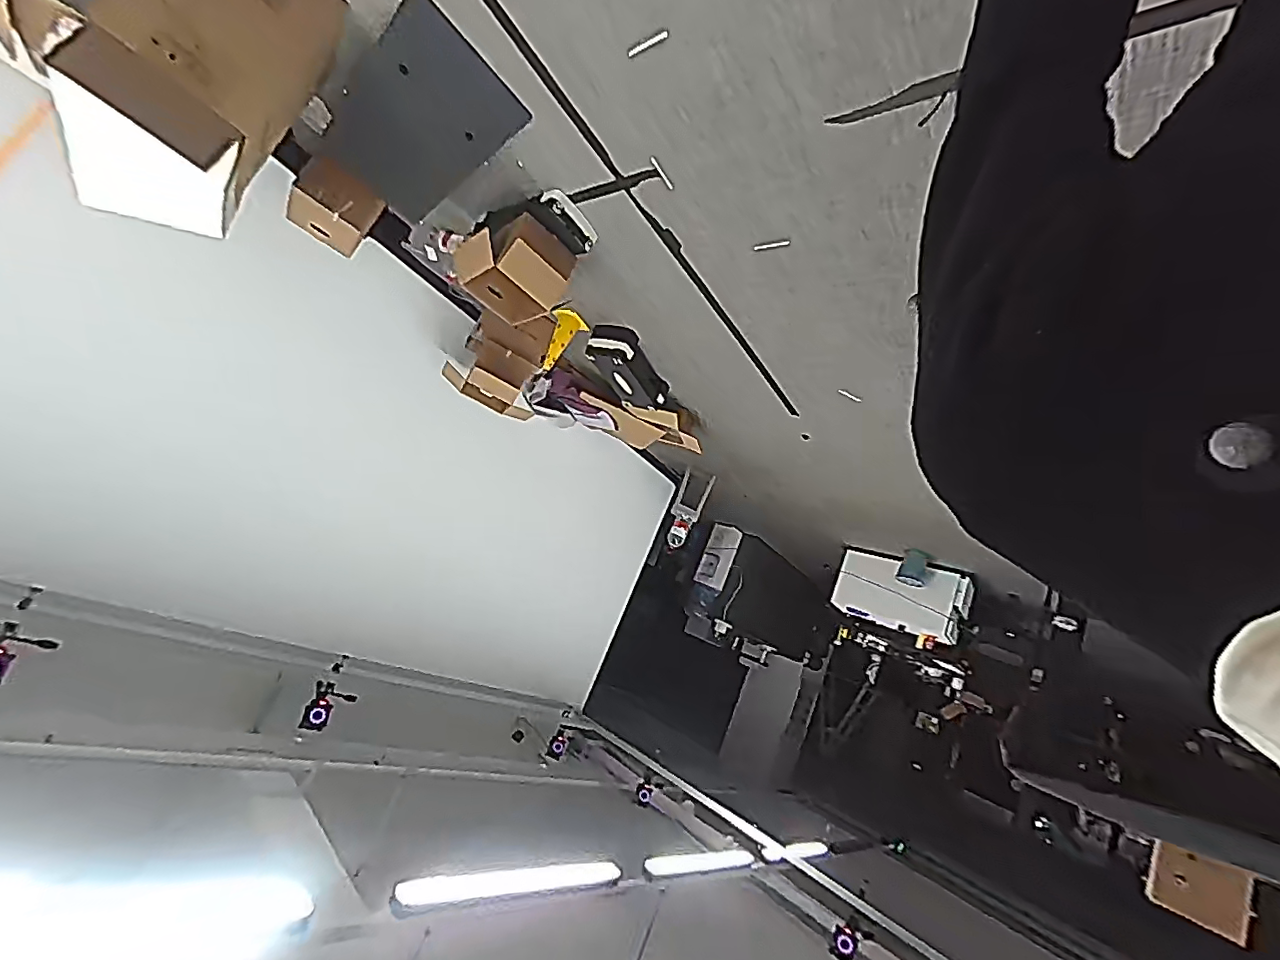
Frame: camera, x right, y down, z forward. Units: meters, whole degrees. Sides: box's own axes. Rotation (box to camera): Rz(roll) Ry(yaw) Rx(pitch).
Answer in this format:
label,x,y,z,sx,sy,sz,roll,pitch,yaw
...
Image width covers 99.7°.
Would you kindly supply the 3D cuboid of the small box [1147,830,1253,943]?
label,x,y,z,sx,sy,sz,roll,pitch,yaw
small box,1.426,1.025,1.381,0.168,0.176,0.179,11,162,44
